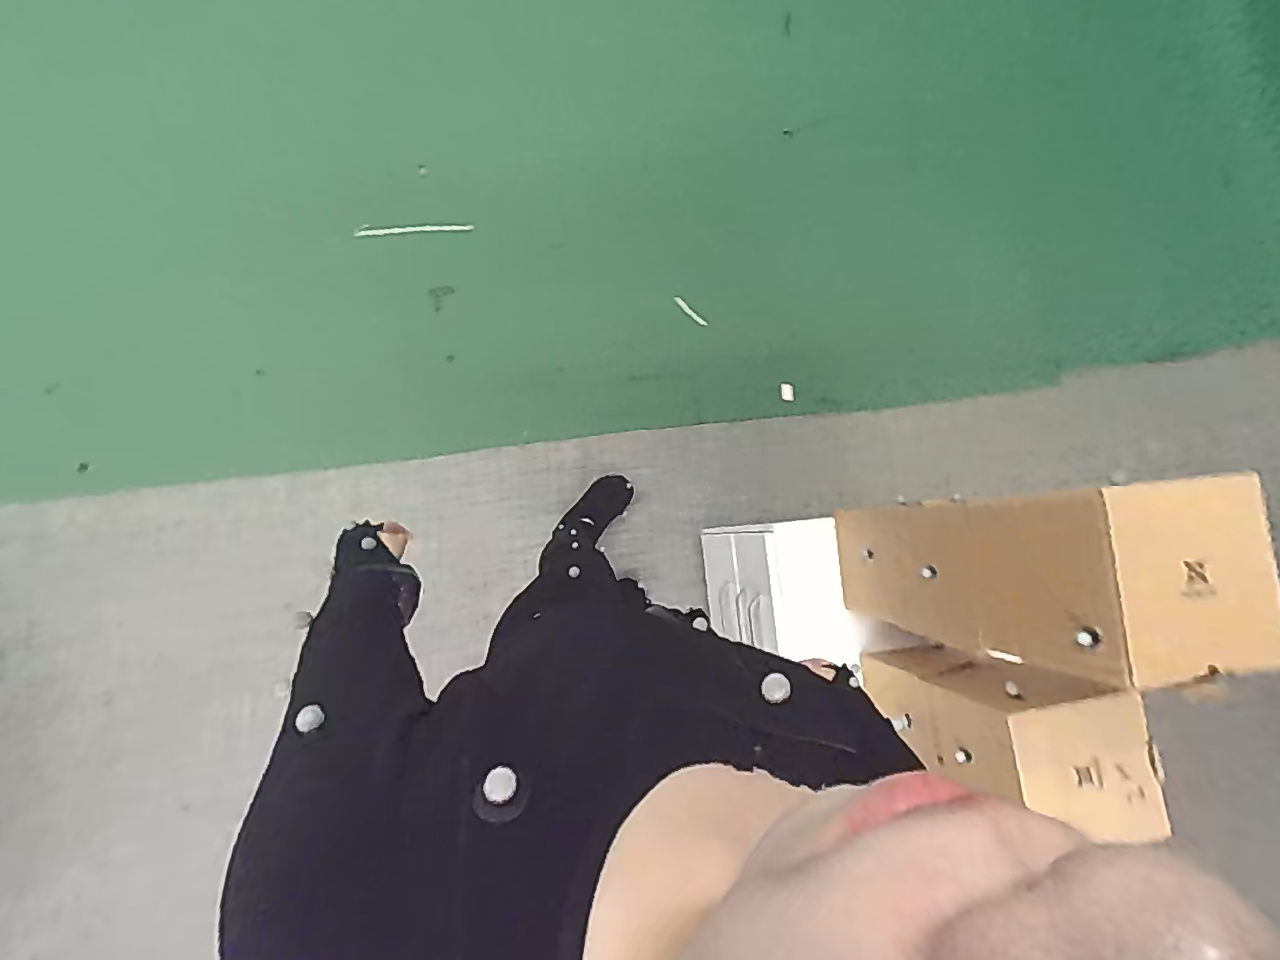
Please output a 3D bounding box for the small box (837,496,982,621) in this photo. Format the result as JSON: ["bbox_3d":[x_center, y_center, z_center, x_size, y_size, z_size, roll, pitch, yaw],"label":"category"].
[{"bbox_3d":[0.440,0.122,0.884,0.168,0.176,0.179,-4,86,-7],"label":"small box"}]

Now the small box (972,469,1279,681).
[{"bbox_3d":[0.479,0.090,0.560,0.168,0.176,0.179,-5,85,-8],"label":"small box"}]

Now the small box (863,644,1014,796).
[{"bbox_3d":[0.477,0.366,0.861,0.168,0.176,0.179,-5,84,-7],"label":"small box"}]

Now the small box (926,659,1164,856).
[{"bbox_3d":[0.500,0.340,0.699,0.179,0.176,0.168,-7,84,-8],"label":"small box"}]
